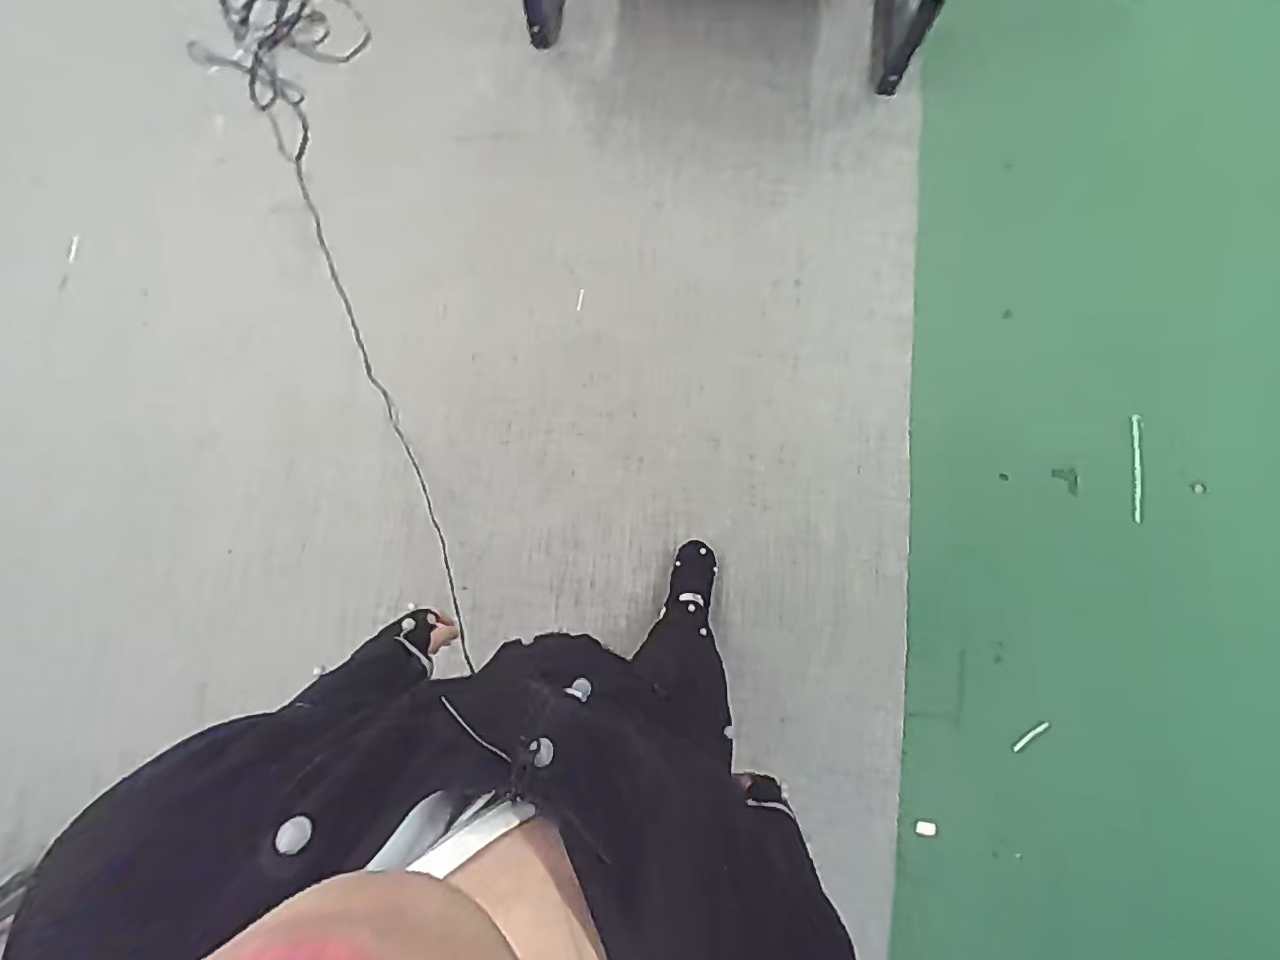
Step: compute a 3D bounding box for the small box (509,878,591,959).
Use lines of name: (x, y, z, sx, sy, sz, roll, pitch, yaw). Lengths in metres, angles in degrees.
small box: (-0.218, 1.104, 1.294, 0.168, 0.176, 0.179, 13, 82, 1)
